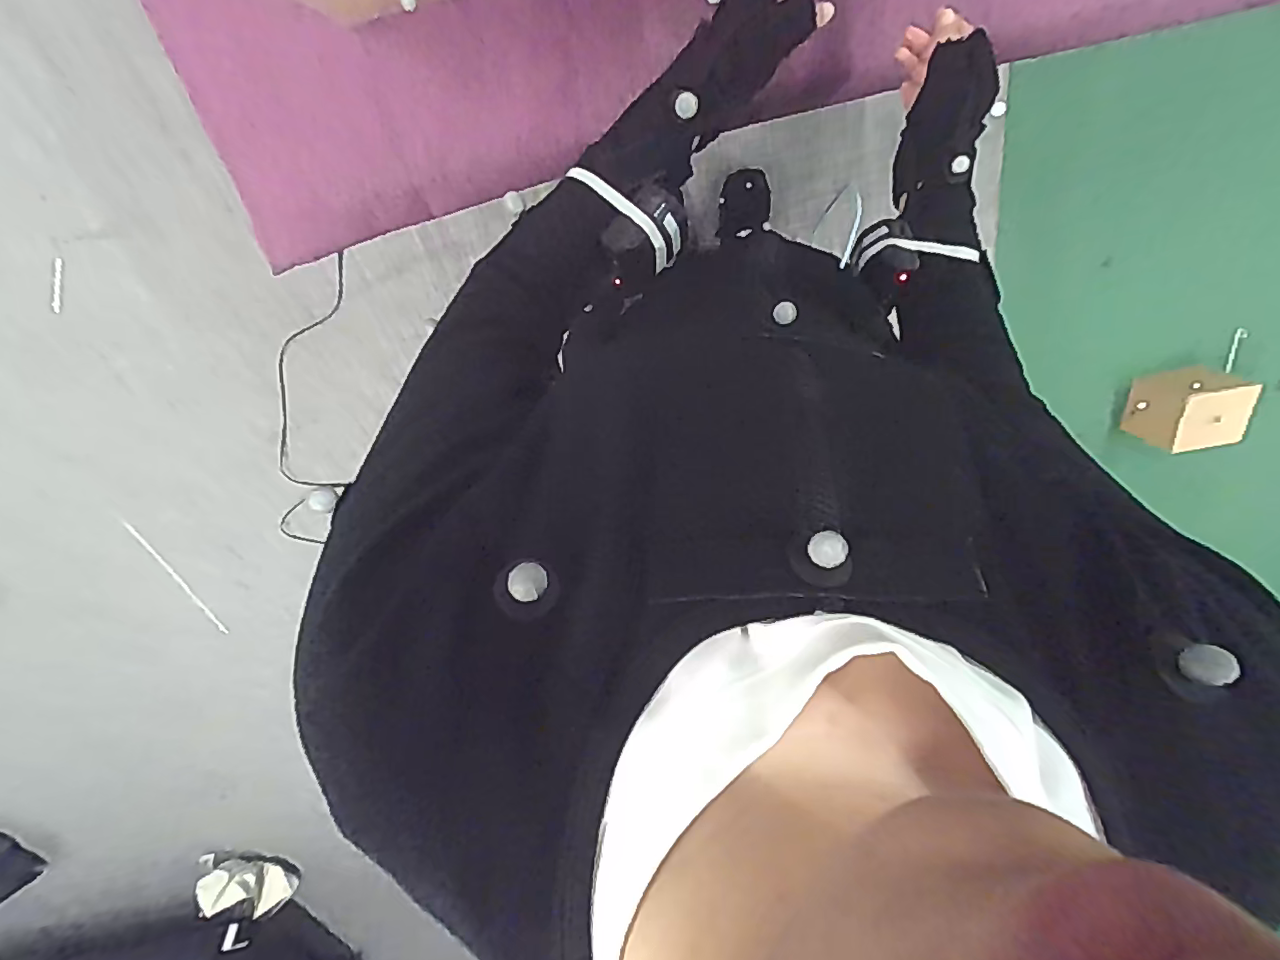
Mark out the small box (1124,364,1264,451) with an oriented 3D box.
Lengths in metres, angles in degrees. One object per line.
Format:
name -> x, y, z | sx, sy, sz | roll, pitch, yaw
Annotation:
small box -> 1.467, -0.199, 1.445 | 0.179, 0.176, 0.168 | -10, 120, 5

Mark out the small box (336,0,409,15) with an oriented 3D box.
small box -> -0.219, -0.487, 0.393 | 0.168, 0.176, 0.179 | -12, 120, 5
